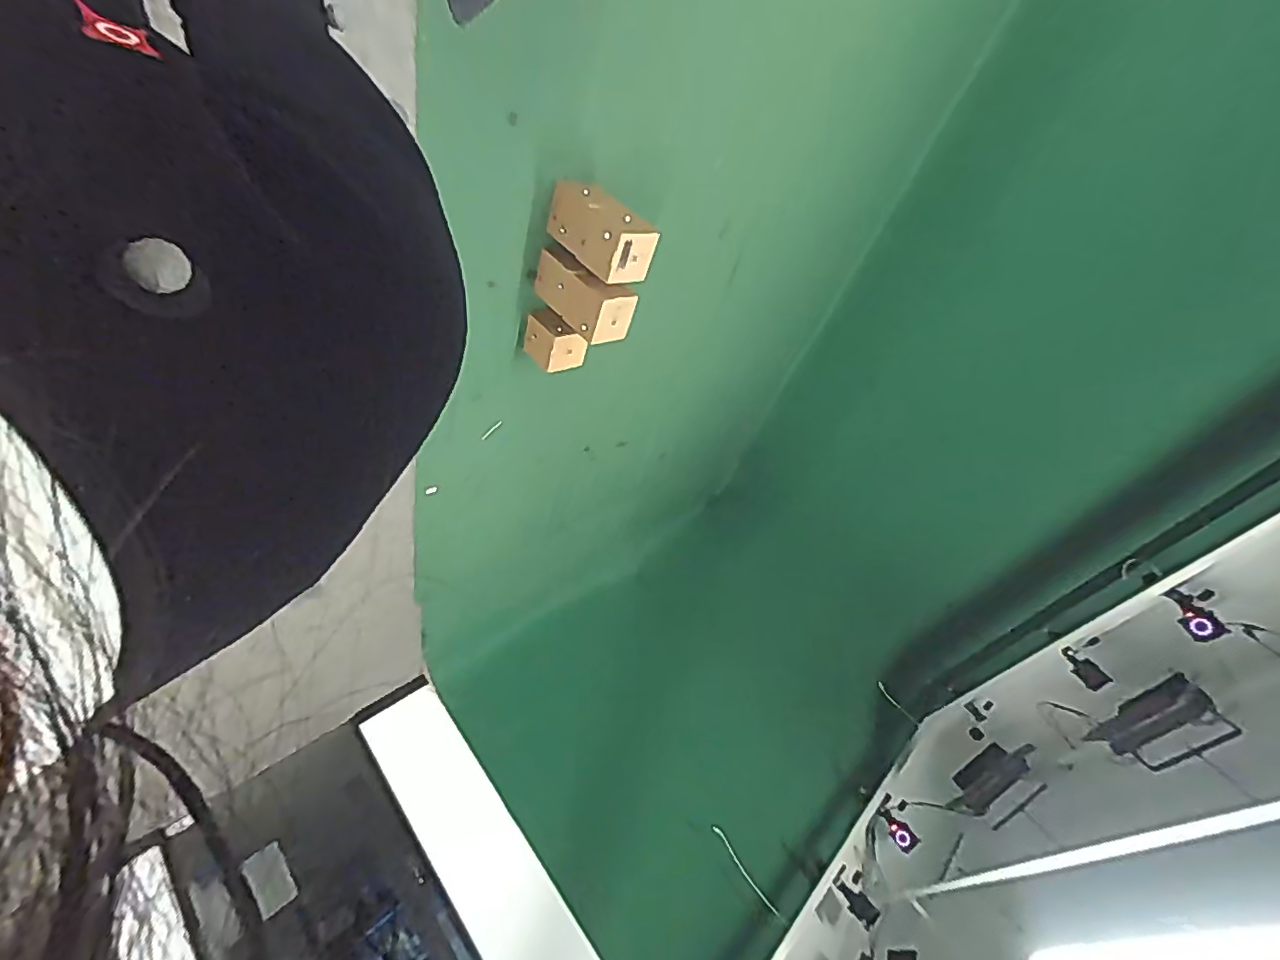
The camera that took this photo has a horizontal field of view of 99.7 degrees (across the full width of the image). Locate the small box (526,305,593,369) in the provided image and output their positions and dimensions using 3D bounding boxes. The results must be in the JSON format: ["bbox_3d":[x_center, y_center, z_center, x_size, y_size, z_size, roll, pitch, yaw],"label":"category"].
[{"bbox_3d":[-0.317,-0.564,2.110,0.179,0.176,0.168,-24,151,-38],"label":"small box"}]
